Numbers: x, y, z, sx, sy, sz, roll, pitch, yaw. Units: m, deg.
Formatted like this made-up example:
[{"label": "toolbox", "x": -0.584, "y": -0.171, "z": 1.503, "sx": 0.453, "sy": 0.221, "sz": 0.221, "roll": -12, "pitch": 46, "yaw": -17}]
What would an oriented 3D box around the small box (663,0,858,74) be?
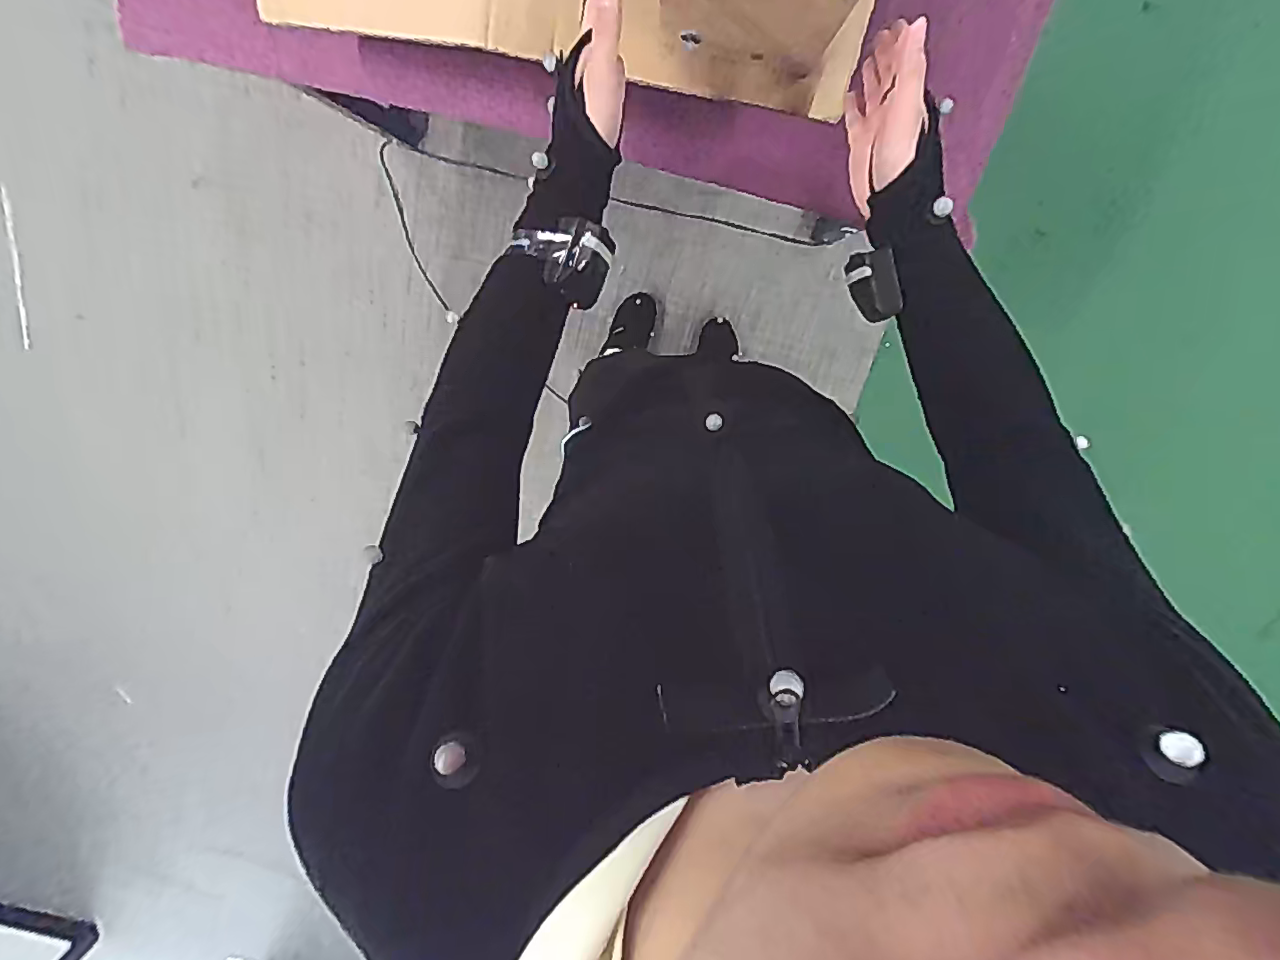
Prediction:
[{"label": "small box", "x": 0.116, "y": -0.498, "z": 0.475, "sx": 0.168, "sy": 0.176, "sz": 0.179, "roll": 11, "pitch": 108, "yaw": -2}]
